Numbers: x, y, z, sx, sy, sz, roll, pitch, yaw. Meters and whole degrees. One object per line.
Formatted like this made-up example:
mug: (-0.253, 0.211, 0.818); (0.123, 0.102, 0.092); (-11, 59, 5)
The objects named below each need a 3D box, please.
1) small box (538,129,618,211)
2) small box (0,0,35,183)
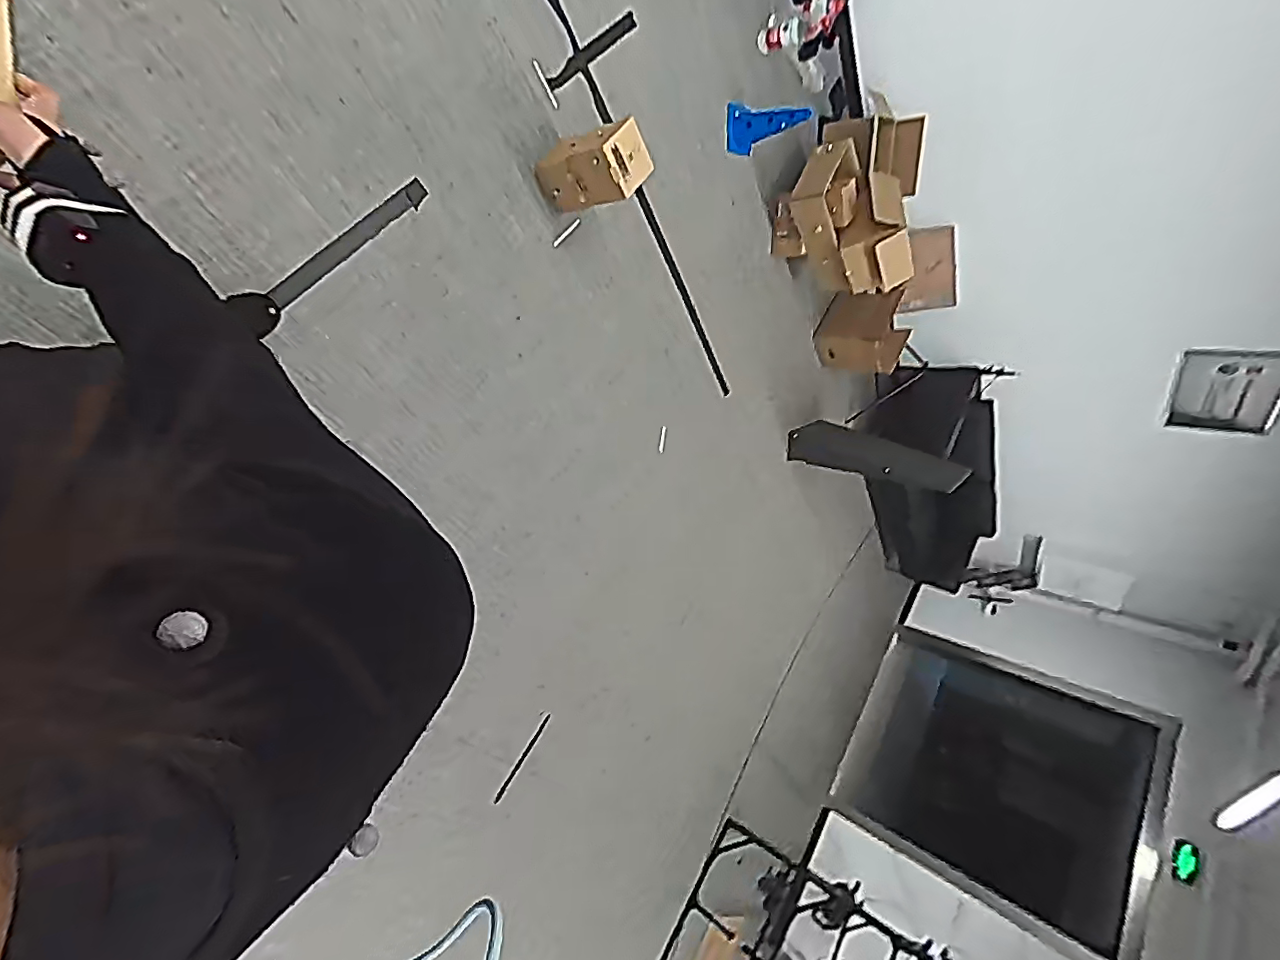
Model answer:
small box: (-0.212, -1.041, 1.826); (0.179, 0.176, 0.168); (-57, 136, -18)
small box: (-0.666, -0.375, 0.458); (0.168, 0.176, 0.179); (-7, 96, -62)
